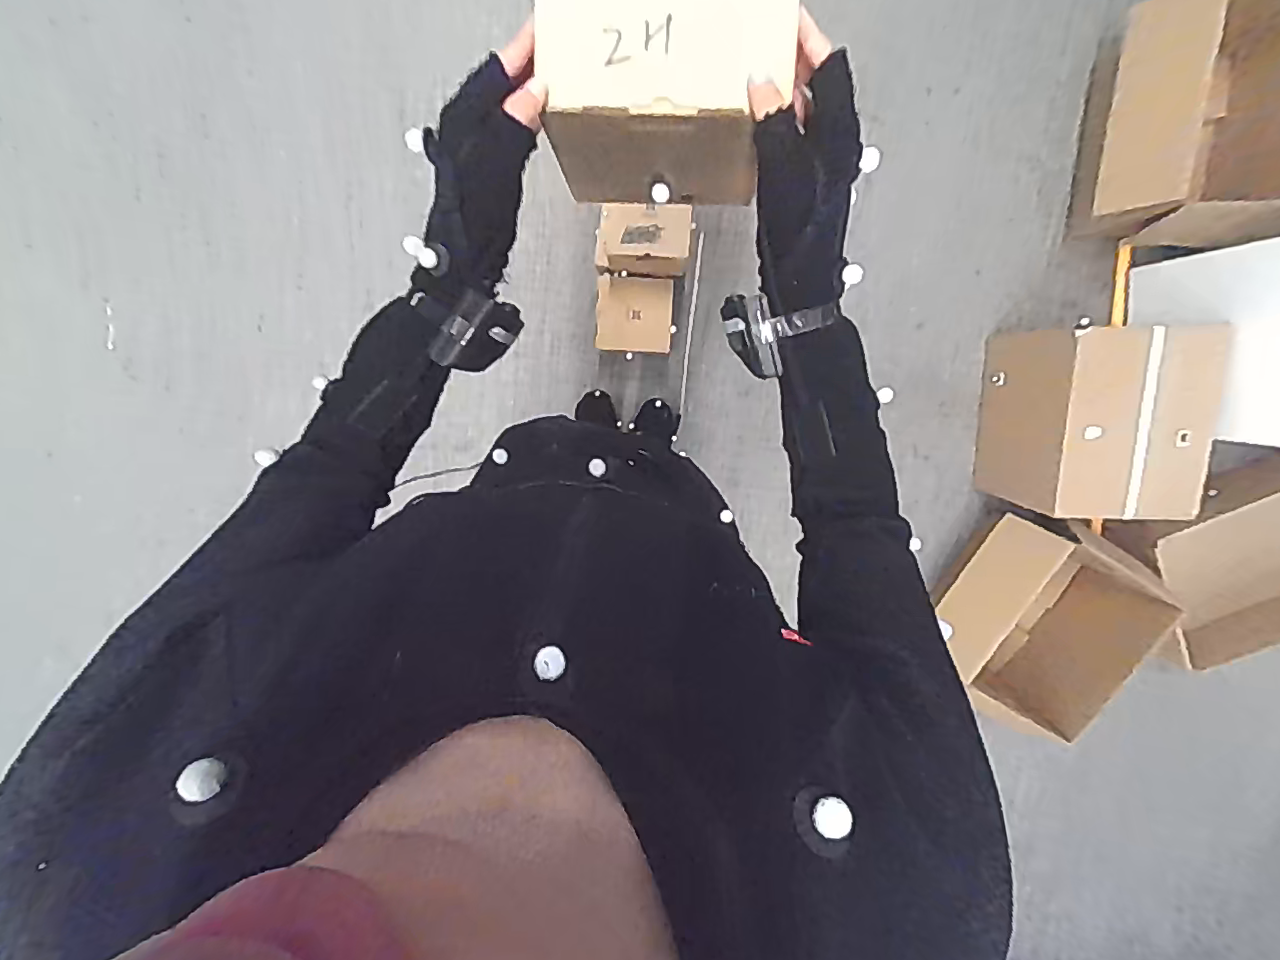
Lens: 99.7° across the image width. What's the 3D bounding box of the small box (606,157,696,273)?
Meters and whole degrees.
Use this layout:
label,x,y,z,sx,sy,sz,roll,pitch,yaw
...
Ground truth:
label,x,y,z,sx,sy,sz,roll,pitch,yaw
small box,0.021,-0.538,1.121,0.168,0.176,0.179,4,100,0
